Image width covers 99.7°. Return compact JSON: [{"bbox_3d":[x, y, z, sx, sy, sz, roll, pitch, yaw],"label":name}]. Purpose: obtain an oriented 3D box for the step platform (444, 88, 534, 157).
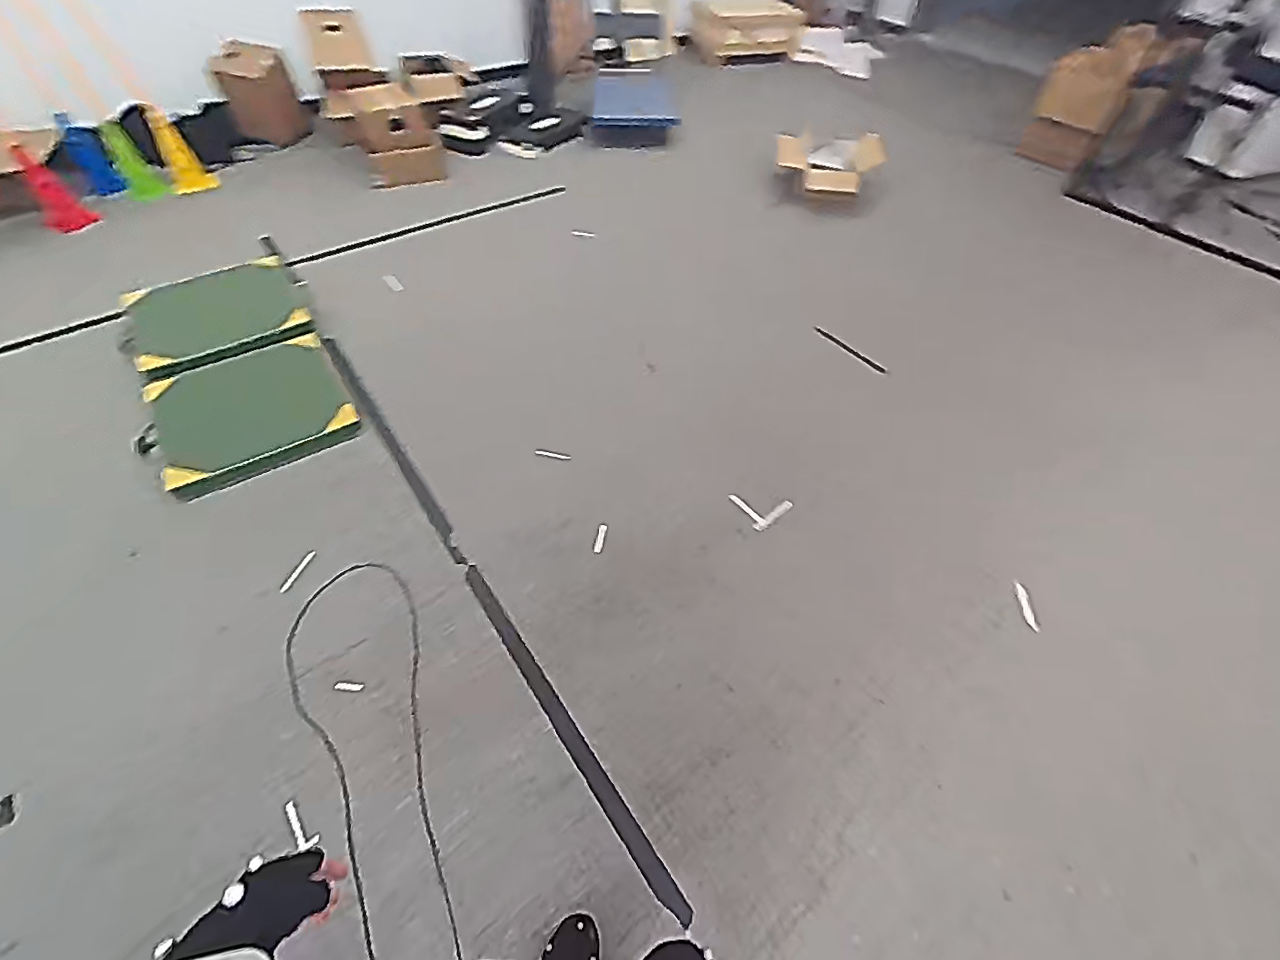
[{"bbox_3d":[-1.000,-2.407,3.620,0.286,0.204,0.684,21,54,13],"label":"step platform"}]
